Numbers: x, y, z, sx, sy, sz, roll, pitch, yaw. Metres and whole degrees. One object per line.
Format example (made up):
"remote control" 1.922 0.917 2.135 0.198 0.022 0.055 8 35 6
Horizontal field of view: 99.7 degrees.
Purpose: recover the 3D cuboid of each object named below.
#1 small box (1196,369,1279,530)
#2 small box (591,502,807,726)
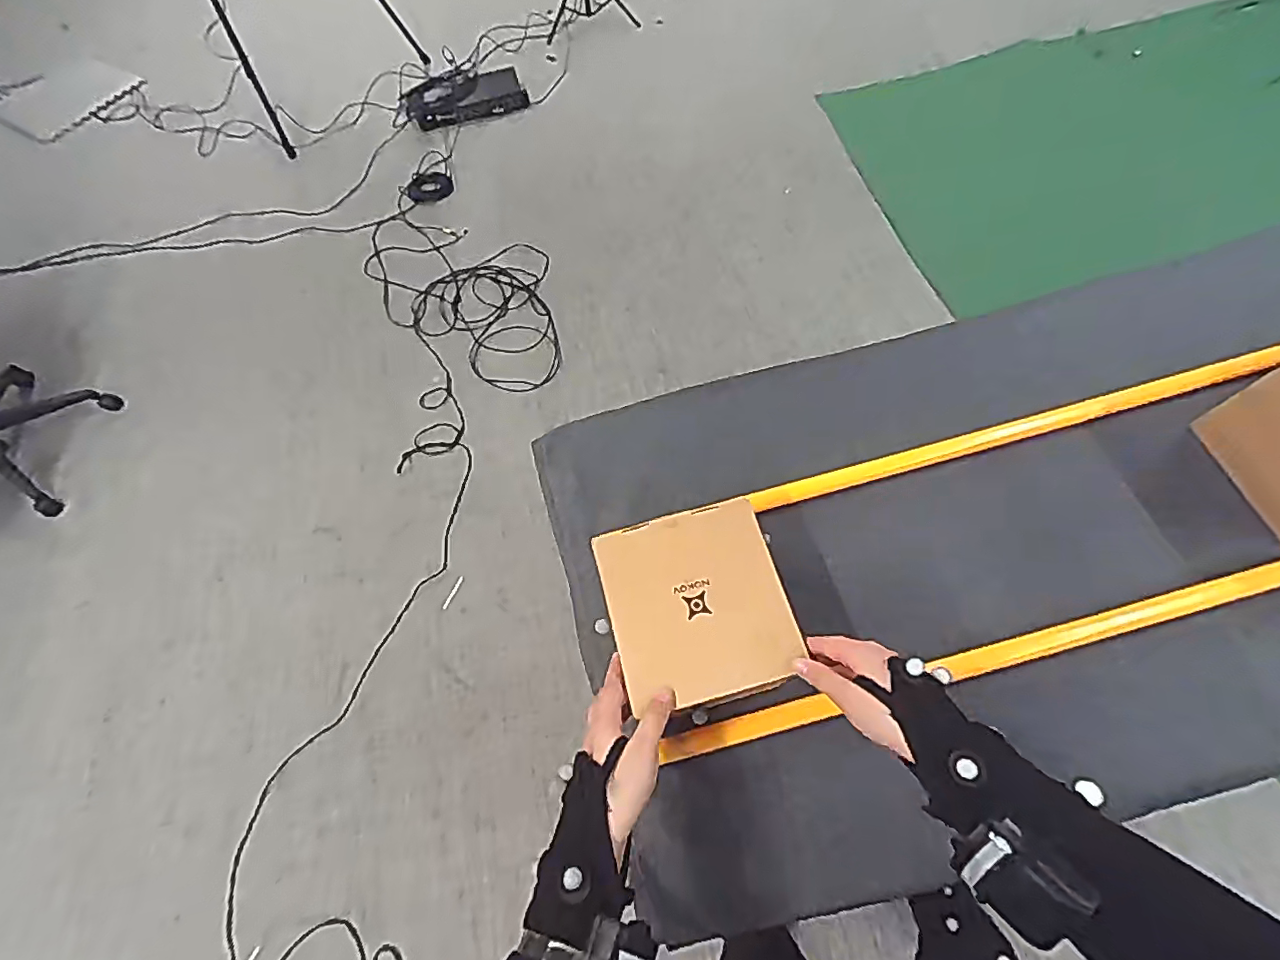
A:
"small box" 0.806 -0.047 0.598 0.168 0.176 0.179 -12 64 0
"small box" 0.055 0.150 0.576 0.168 0.176 0.179 -15 64 -4
